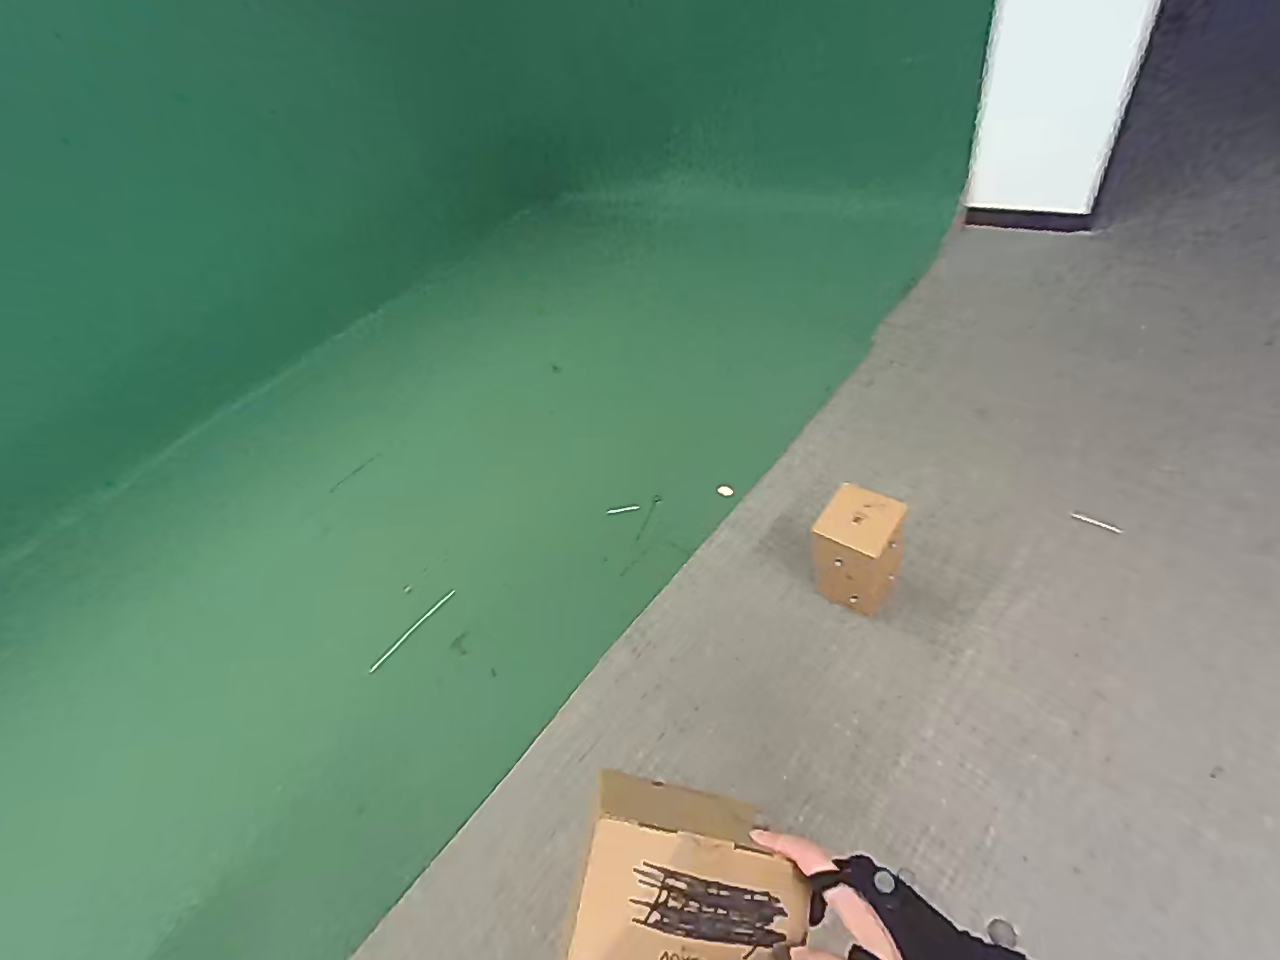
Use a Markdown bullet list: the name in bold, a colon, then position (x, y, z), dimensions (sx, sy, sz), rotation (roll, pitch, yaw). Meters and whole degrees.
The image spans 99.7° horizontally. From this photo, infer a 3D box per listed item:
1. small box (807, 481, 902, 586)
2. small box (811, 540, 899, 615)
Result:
- **small box**: position (0.549, 0.141, 1.383), dimensions (0.168, 0.176, 0.179), rotation (26, 64, 34)
- **small box**: position (0.598, 0.243, 1.503), dimensions (0.168, 0.176, 0.179), rotation (27, 64, 36)
